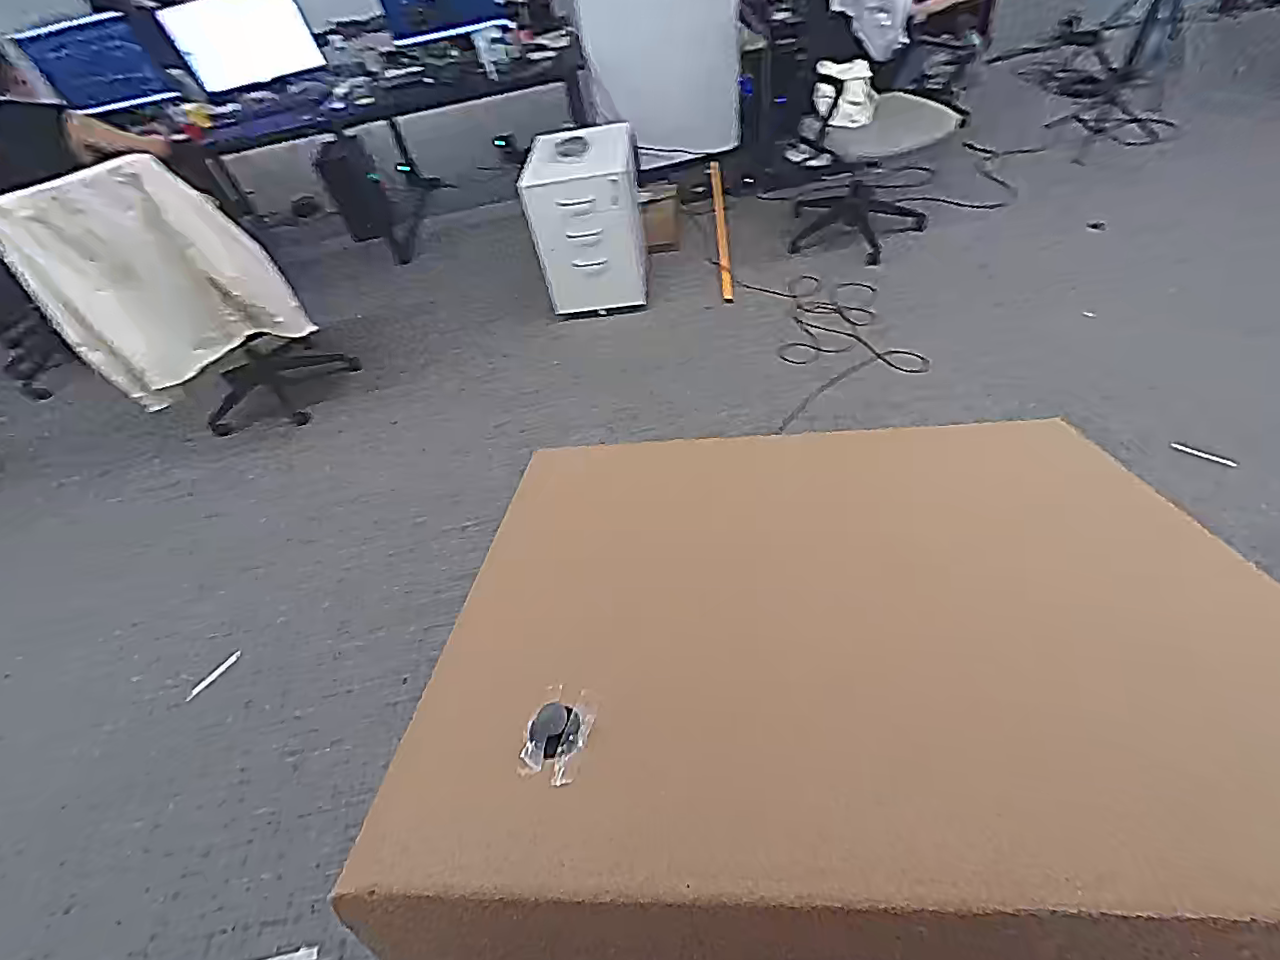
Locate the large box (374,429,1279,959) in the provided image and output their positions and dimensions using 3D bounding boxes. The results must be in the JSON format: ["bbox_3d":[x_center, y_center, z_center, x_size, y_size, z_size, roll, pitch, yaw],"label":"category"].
[{"bbox_3d":[0.118,0.178,0.384,0.408,0.320,0.320,-4,32,6],"label":"large box"}]
